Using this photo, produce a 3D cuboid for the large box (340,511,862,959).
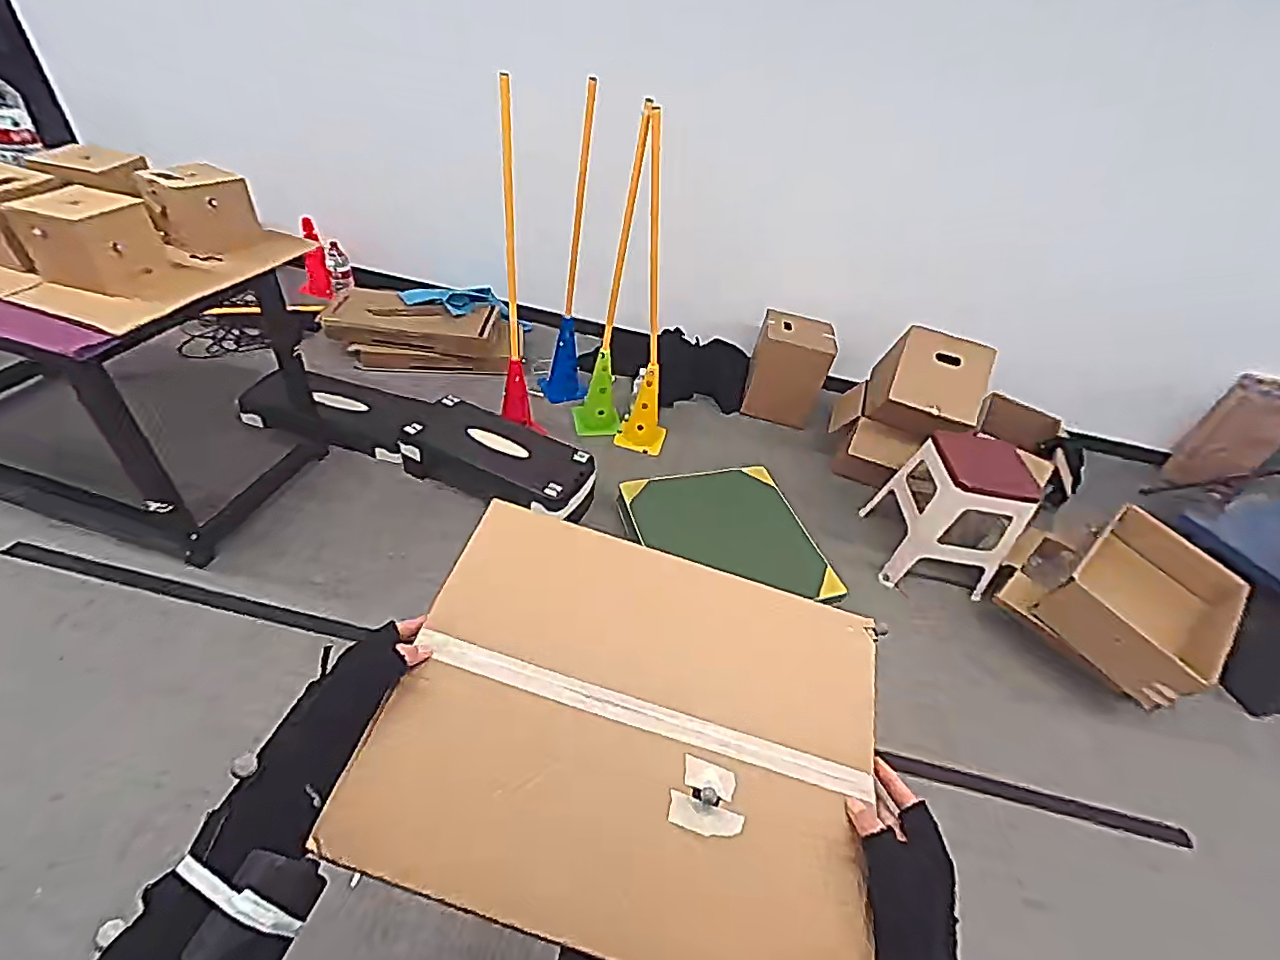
[{"bbox_3d":[-0.021,0.288,0.597,0.408,0.320,0.320,18,54,2],"label":"large box"}]
